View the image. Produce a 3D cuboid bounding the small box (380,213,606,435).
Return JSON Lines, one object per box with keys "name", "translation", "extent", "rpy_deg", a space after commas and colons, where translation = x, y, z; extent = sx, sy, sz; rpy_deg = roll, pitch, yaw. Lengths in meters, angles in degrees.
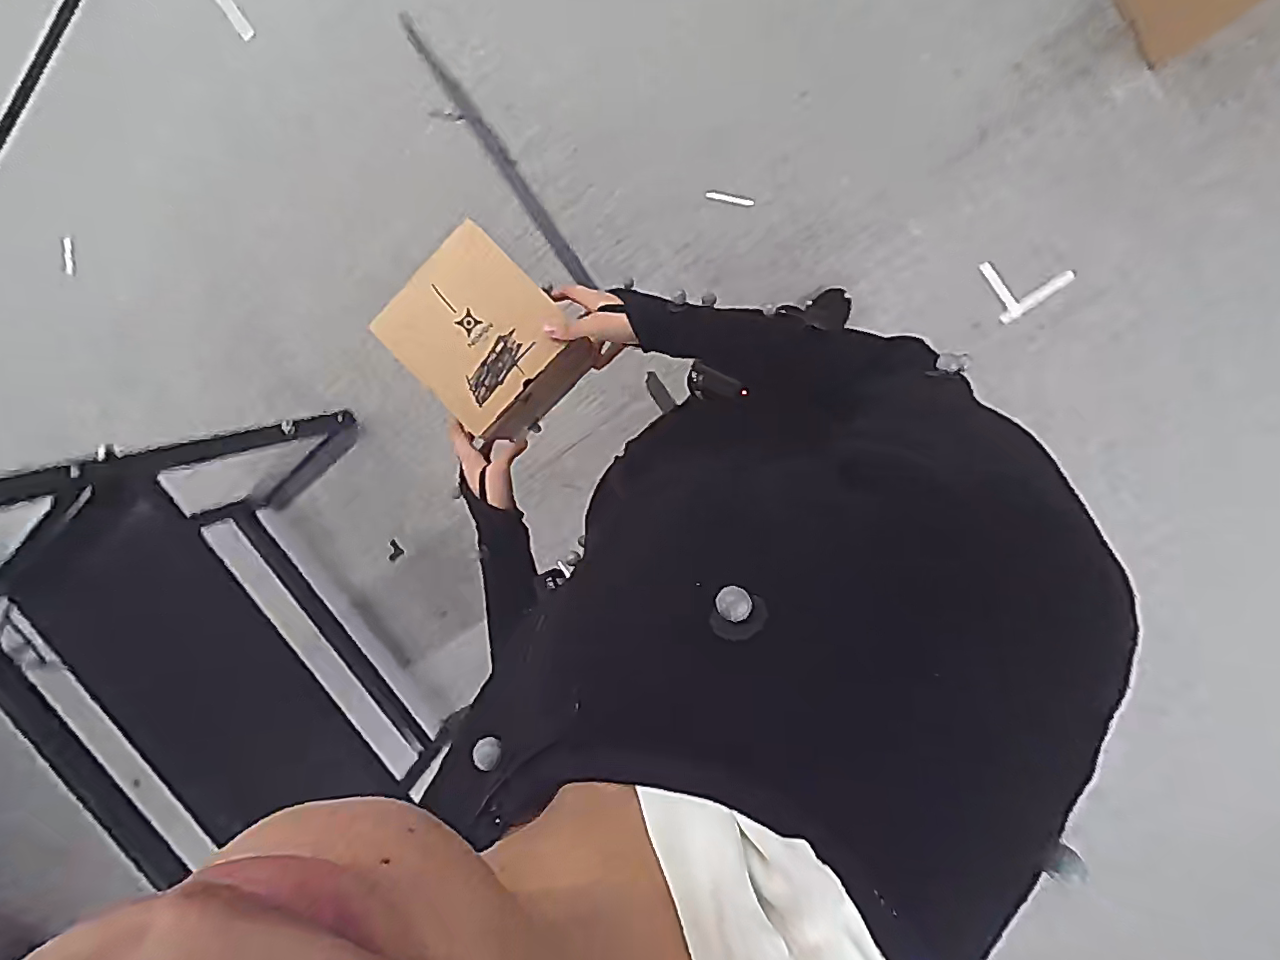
{"name": "small box", "translation": [-0.160, -0.173, 0.656], "extent": [0.179, 0.176, 0.168], "rpy_deg": [45, 95, -1]}
